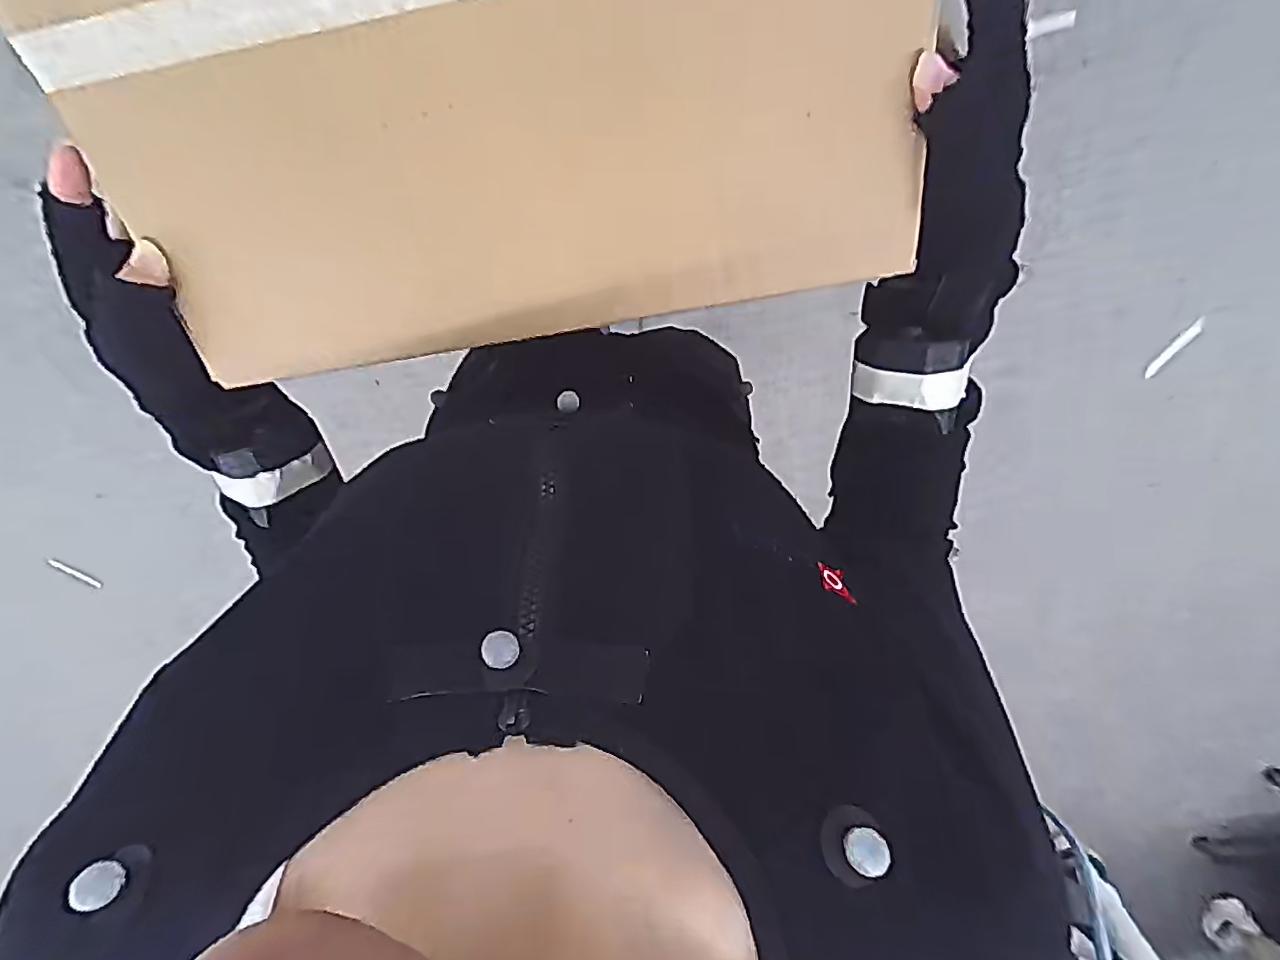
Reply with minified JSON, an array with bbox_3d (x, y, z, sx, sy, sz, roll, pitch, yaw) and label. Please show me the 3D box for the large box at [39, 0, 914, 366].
[{"bbox_3d":[-0.079,-0.302,0.372,0.408,0.320,0.320,-9,120,4],"label":"large box"}]
